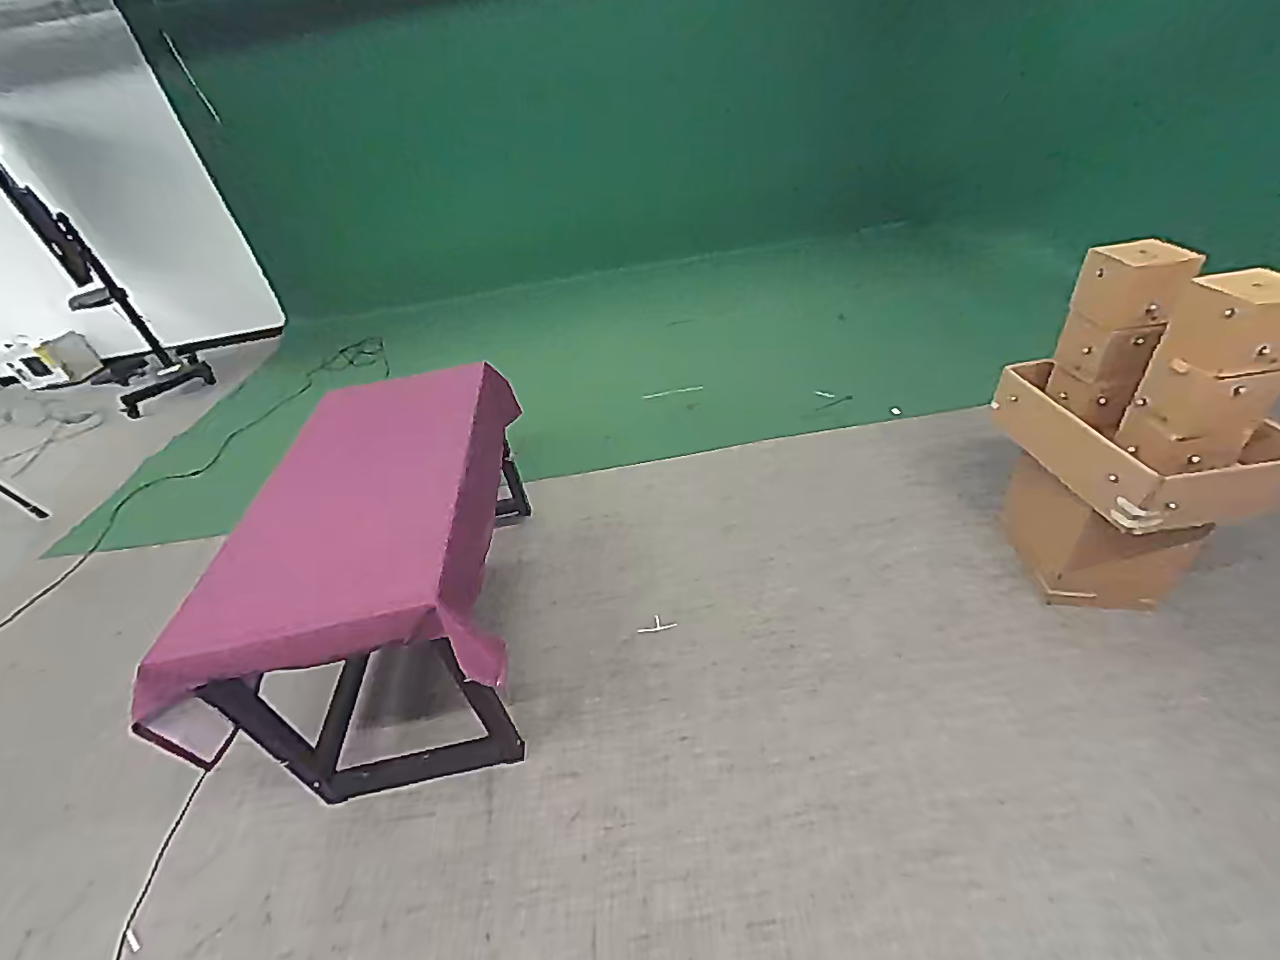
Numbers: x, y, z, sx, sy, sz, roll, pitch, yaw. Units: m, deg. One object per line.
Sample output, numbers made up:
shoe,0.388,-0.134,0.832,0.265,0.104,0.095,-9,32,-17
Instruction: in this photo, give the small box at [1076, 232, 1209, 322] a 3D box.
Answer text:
small box,1.307,-0.534,1.426,0.168,0.176,0.179,-8,38,6

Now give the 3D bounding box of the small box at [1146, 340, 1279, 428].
small box,1.372,-0.238,1.293,0.179,0.176,0.168,-8,37,5

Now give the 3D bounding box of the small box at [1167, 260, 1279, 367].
small box,1.347,-0.369,1.200,0.168,0.176,0.179,-9,37,4

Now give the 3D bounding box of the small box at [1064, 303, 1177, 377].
small box,1.342,-0.405,1.524,0.179,0.176,0.168,-9,37,3
